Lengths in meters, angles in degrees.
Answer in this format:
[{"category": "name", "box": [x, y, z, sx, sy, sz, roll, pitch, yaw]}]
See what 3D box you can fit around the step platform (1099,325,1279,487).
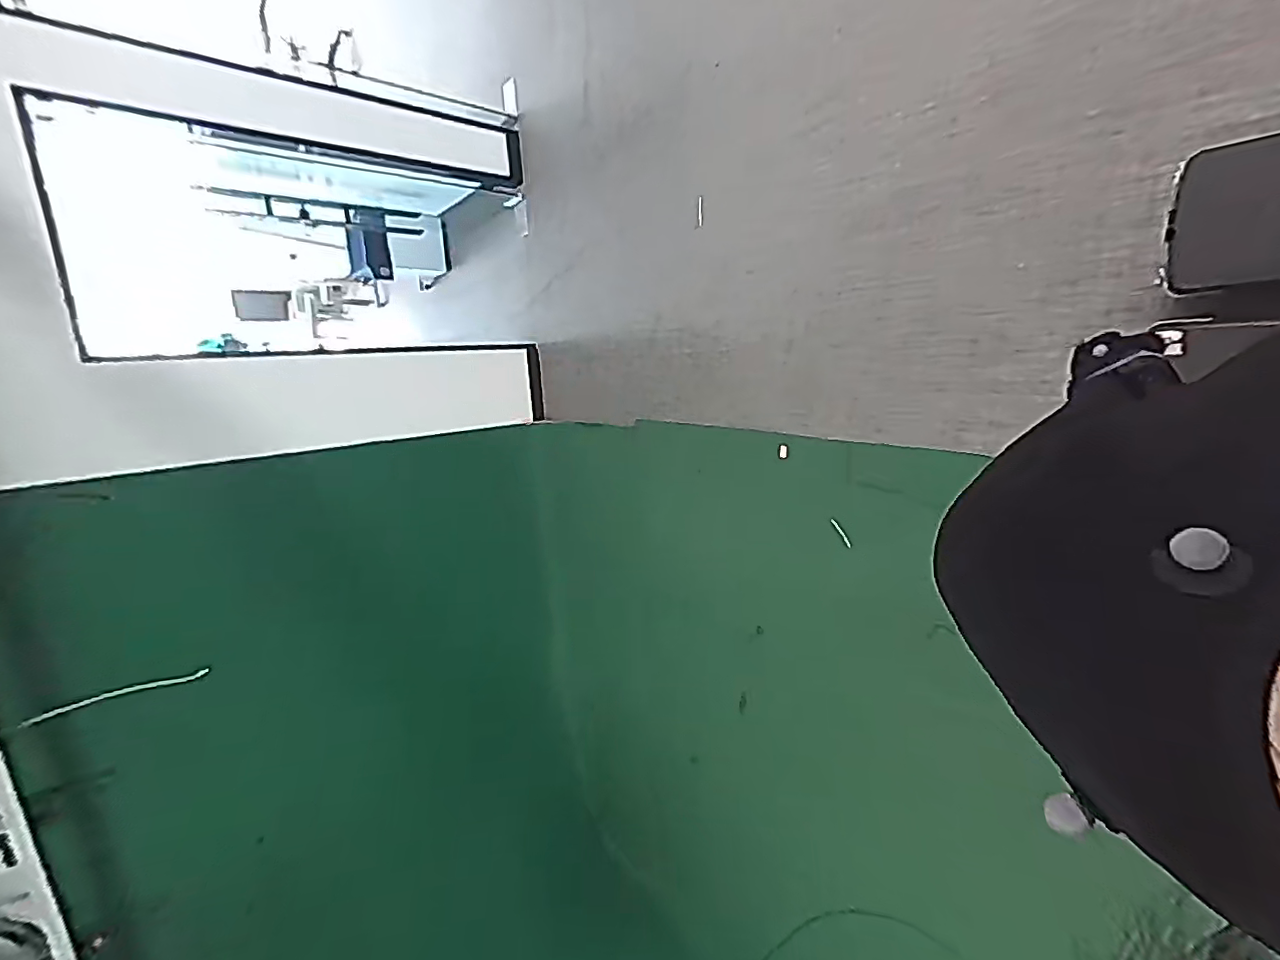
[{"category": "step platform", "box": [1.171, -0.107, 0.833, 0.684, 0.204, 0.286, 11, 108, 48]}]
